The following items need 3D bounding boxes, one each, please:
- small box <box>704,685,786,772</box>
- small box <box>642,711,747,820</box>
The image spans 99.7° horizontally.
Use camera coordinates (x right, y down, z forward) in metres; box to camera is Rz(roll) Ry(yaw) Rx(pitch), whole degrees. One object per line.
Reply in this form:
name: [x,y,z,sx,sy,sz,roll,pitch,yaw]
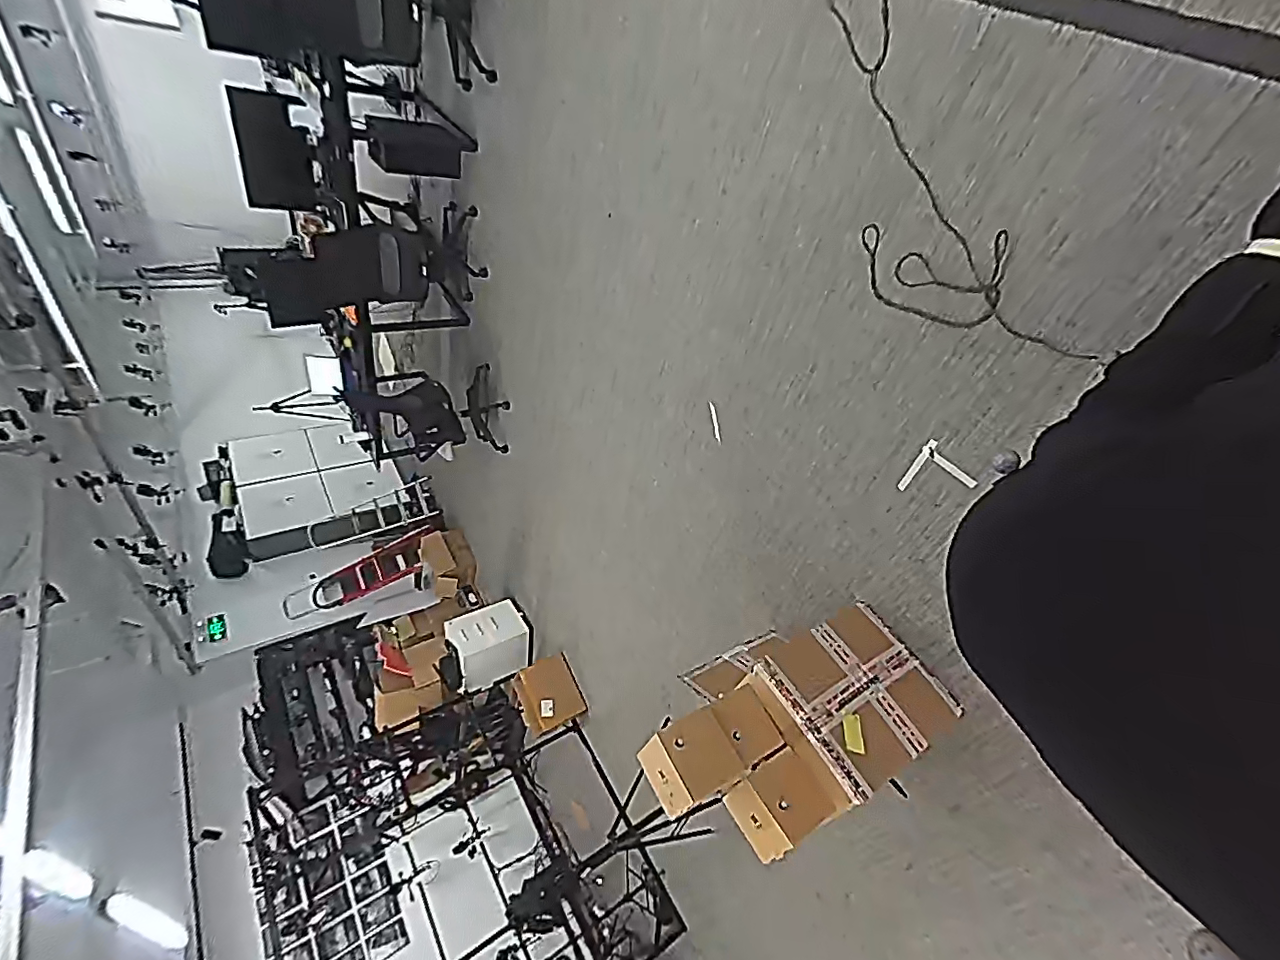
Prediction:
small box: [0.262,0.693,1.473,0.179,0.176,0.168,58,143,28]
small box: [0.136,0.710,1.366,0.179,0.176,0.168,55,142,30]
